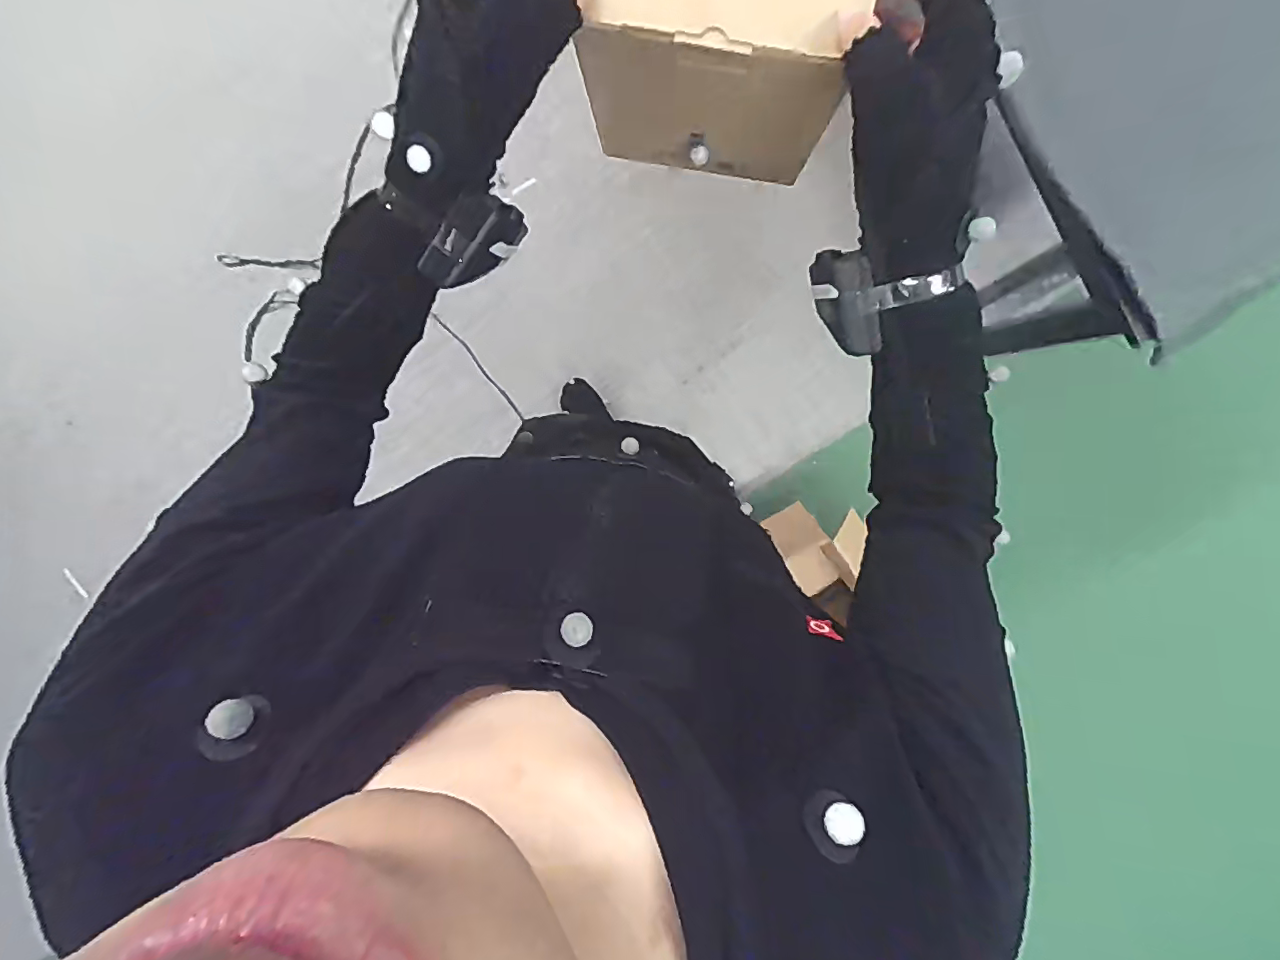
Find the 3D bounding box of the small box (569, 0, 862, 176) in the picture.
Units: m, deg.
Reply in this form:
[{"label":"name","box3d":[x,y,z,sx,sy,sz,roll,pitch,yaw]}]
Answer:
[{"label":"small box","box3d":[0.055,-0.344,0.368,0.168,0.176,0.179,10,98,2]}]
